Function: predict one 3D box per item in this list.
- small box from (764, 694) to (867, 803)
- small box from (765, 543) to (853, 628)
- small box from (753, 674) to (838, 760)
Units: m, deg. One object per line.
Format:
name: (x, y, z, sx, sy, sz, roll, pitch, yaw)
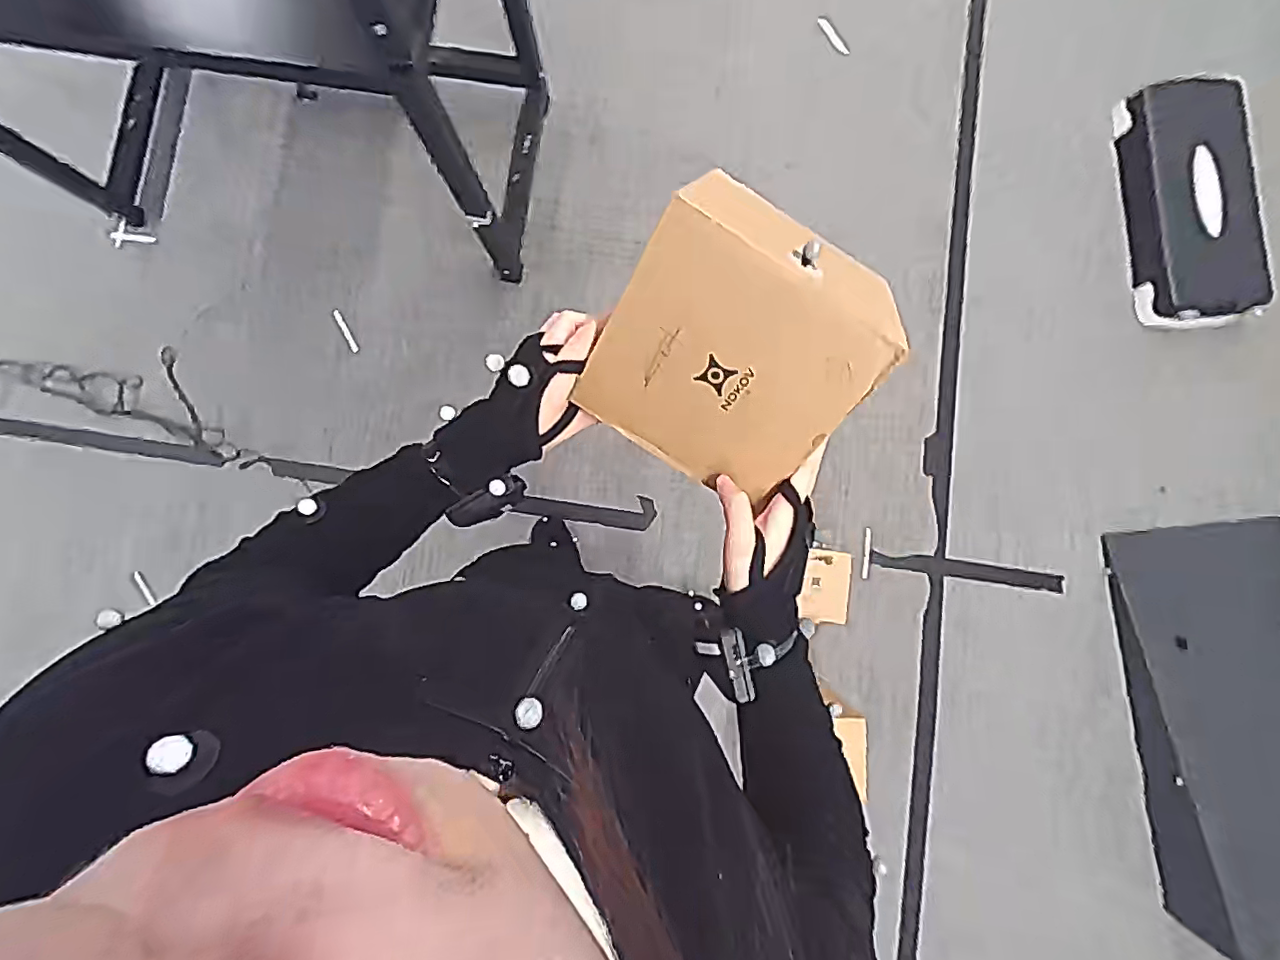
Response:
small box: (0.384, 0.586, 1.200, 0.179, 0.176, 0.168, 2, 86, 1)
small box: (0.425, 0.264, 1.386, 0.168, 0.176, 0.179, 8, 87, 1)
small box: (0.386, 0.597, 1.364, 0.179, 0.176, 0.168, 1, 86, 0)
